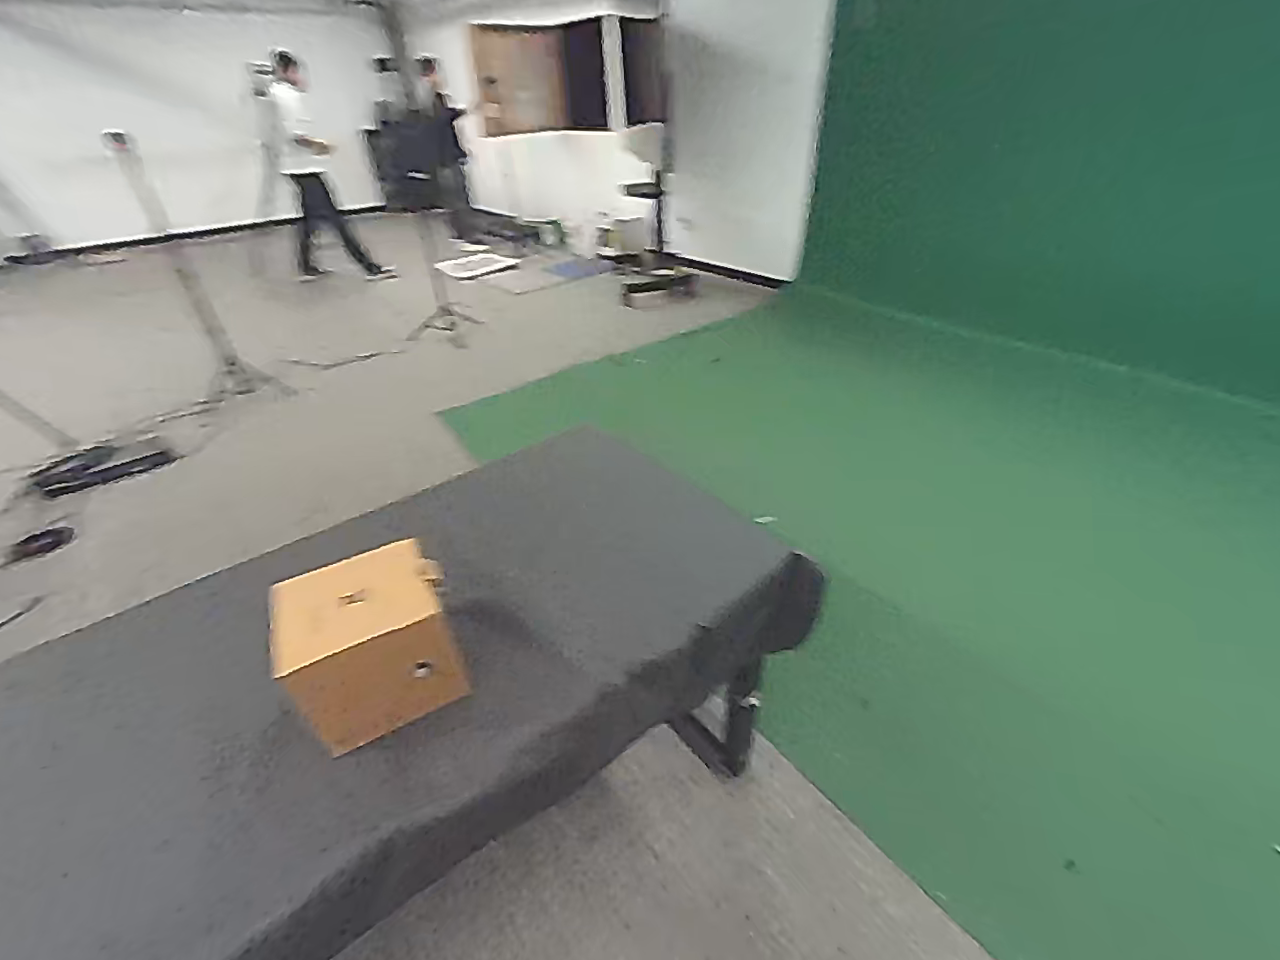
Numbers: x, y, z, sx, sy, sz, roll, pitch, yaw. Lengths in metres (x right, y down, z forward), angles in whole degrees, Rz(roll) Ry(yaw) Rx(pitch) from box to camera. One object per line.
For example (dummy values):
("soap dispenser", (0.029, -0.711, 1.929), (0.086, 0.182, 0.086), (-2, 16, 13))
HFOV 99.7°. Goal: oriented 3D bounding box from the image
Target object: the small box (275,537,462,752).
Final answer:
("small box", (-0.348, 0.212, 0.712), (0.179, 0.176, 0.168), (-22, 38, -23))
